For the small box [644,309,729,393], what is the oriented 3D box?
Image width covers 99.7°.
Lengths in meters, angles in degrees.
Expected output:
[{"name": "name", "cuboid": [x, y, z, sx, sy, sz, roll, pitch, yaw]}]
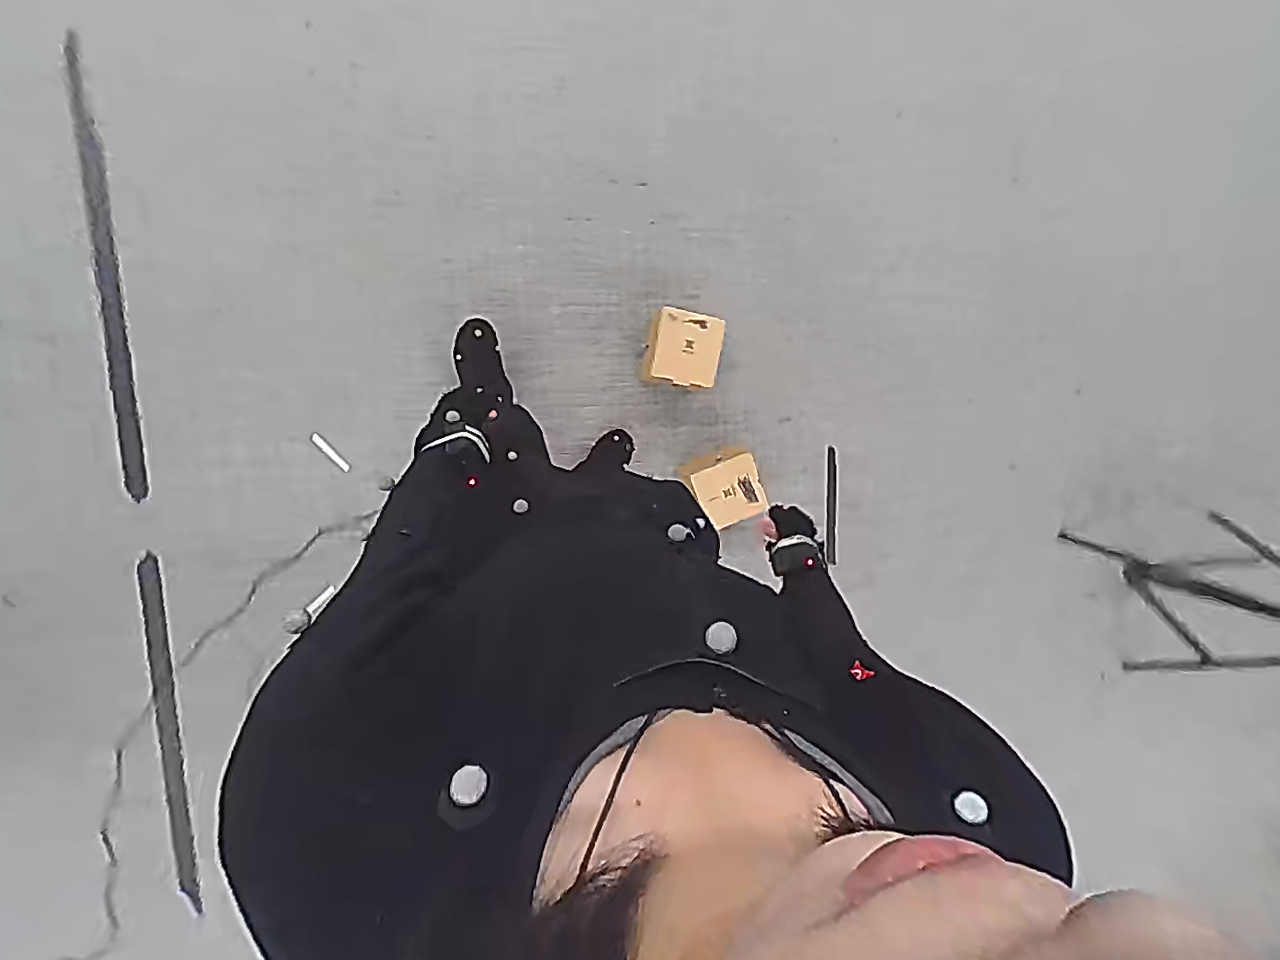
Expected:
[{"name": "small box", "cuboid": [0.113, -0.328, 1.411, 0.168, 0.176, 0.179, 11, 95, -11]}]

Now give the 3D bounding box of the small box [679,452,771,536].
[{"name": "small box", "cuboid": [0.226, 0.031, 1.473, 0.179, 0.176, 0.168, -21, 100, -5]}]
